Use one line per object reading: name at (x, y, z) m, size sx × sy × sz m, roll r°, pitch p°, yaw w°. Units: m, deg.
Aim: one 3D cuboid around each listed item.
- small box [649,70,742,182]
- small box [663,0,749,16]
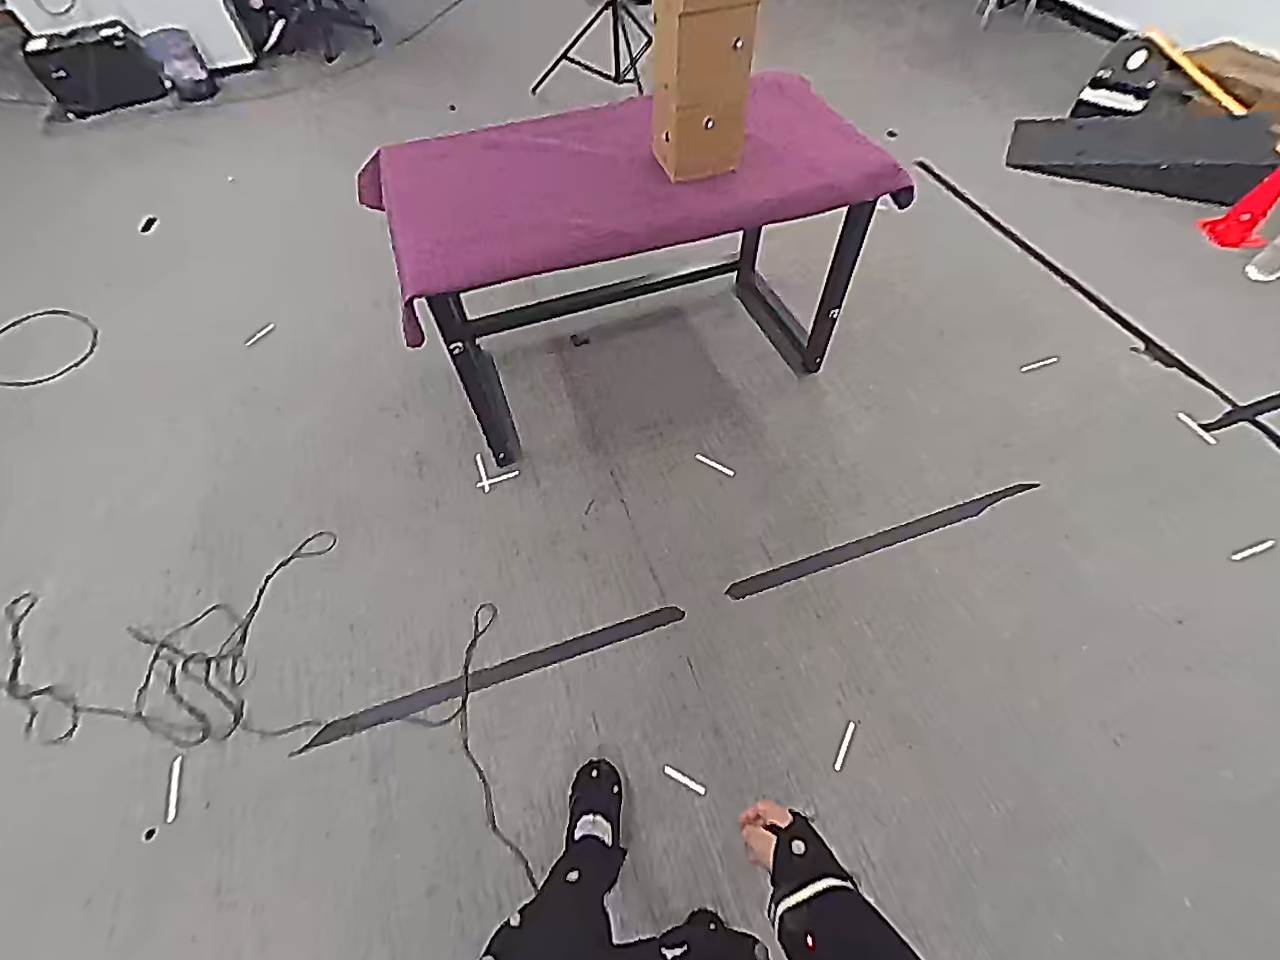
small box at (0.130, -0.854, 1.314) m, size 0.179 × 0.176 × 0.168 m, roll -16°, pitch 59°, yaw -9°
small box at (0.130, -1.032, 1.036) m, size 0.179 × 0.176 × 0.168 m, roll -17°, pitch 58°, yaw -8°
